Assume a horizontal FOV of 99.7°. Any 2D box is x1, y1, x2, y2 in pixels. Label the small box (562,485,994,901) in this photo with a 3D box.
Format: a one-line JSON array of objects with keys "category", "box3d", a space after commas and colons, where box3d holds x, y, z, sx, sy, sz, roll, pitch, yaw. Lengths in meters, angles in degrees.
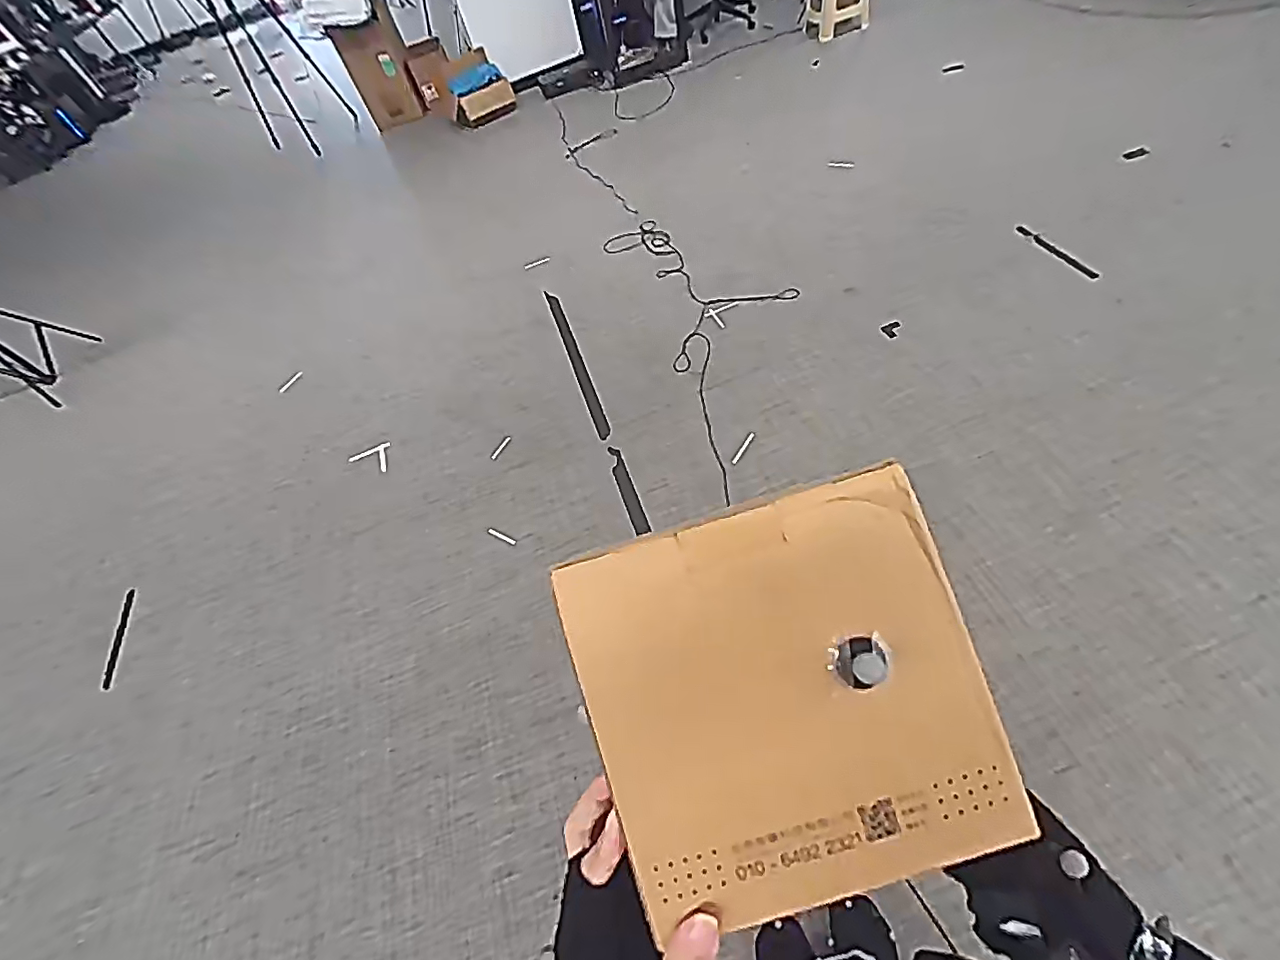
[{"category": "small box", "box3d": [0.069, 0.112, 0.330, 0.168, 0.179, 0.176, -18, 85, 2]}]
